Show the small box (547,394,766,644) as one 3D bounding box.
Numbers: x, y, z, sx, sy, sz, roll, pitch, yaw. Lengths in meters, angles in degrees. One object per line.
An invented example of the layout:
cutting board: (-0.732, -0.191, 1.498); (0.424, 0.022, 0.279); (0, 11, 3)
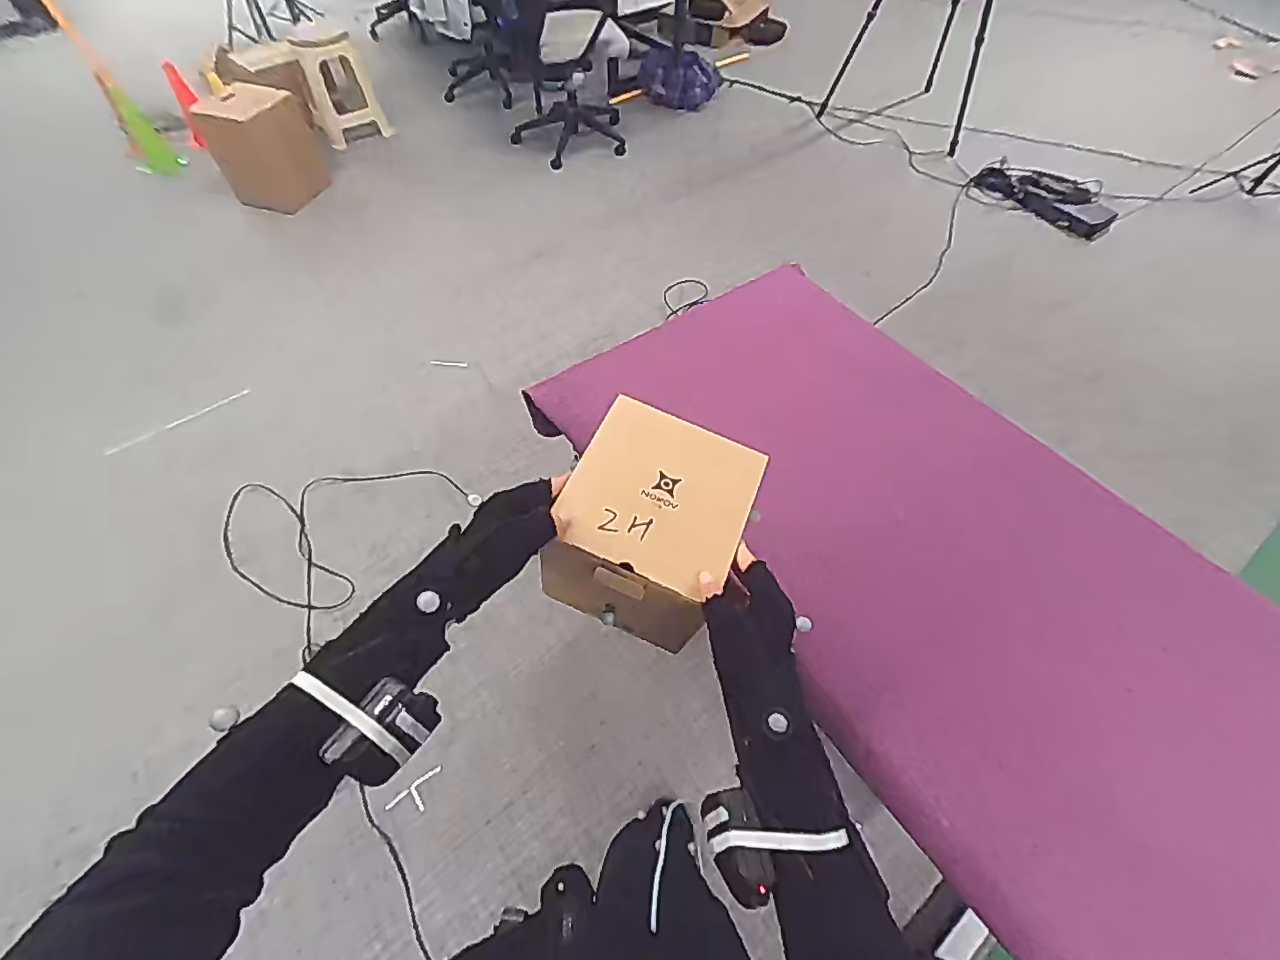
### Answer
small box: (0.012, 0.047, 0.578); (0.168, 0.176, 0.179); (23, 60, 6)
